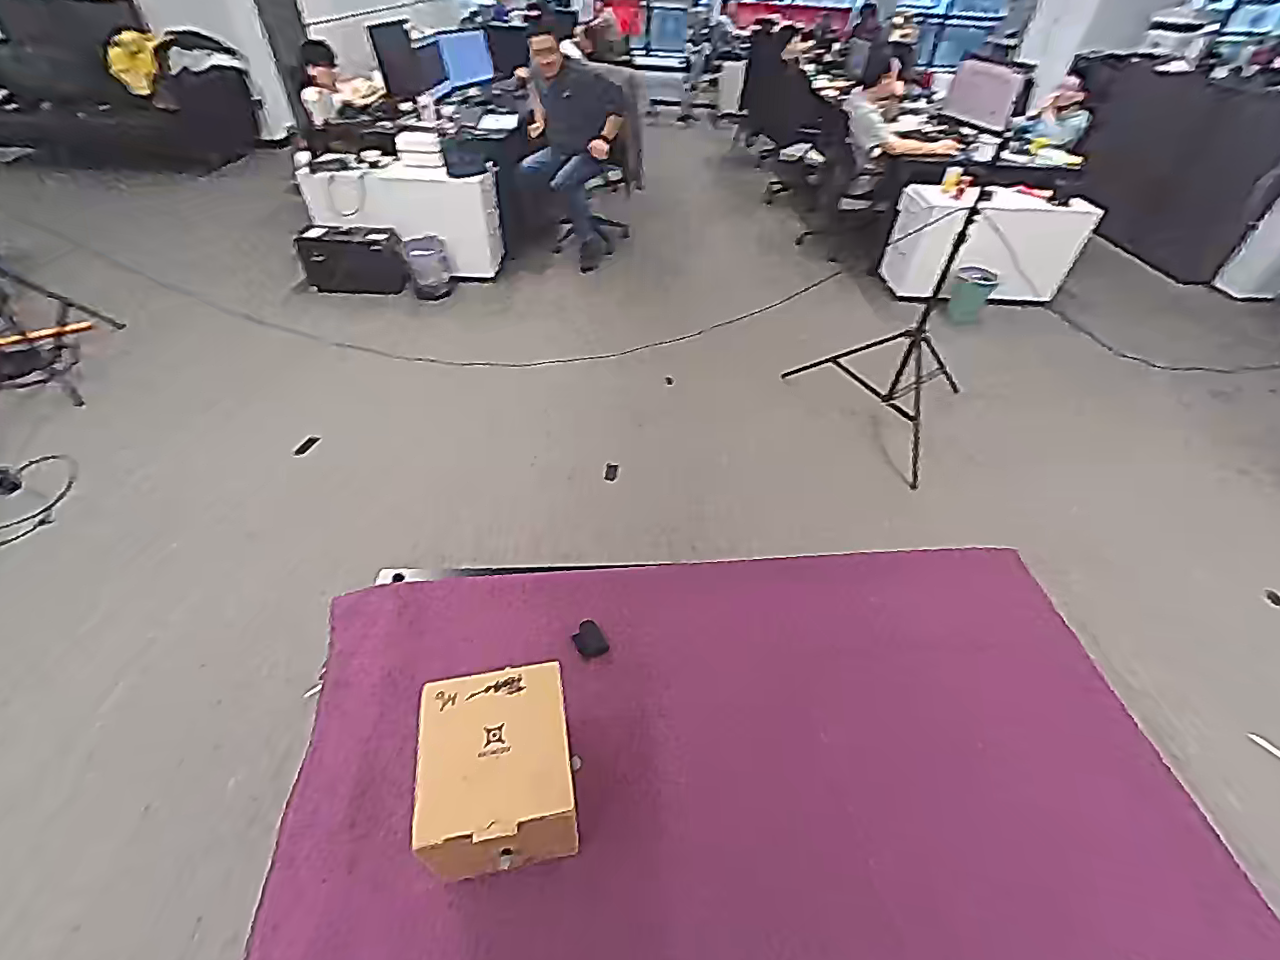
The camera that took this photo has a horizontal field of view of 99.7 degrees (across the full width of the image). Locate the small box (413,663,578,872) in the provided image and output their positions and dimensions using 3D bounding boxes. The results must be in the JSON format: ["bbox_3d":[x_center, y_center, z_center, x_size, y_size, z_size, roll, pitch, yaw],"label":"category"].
[{"bbox_3d":[-0.168,0.355,0.664,0.168,0.176,0.179,-6,45,-11],"label":"small box"}]
